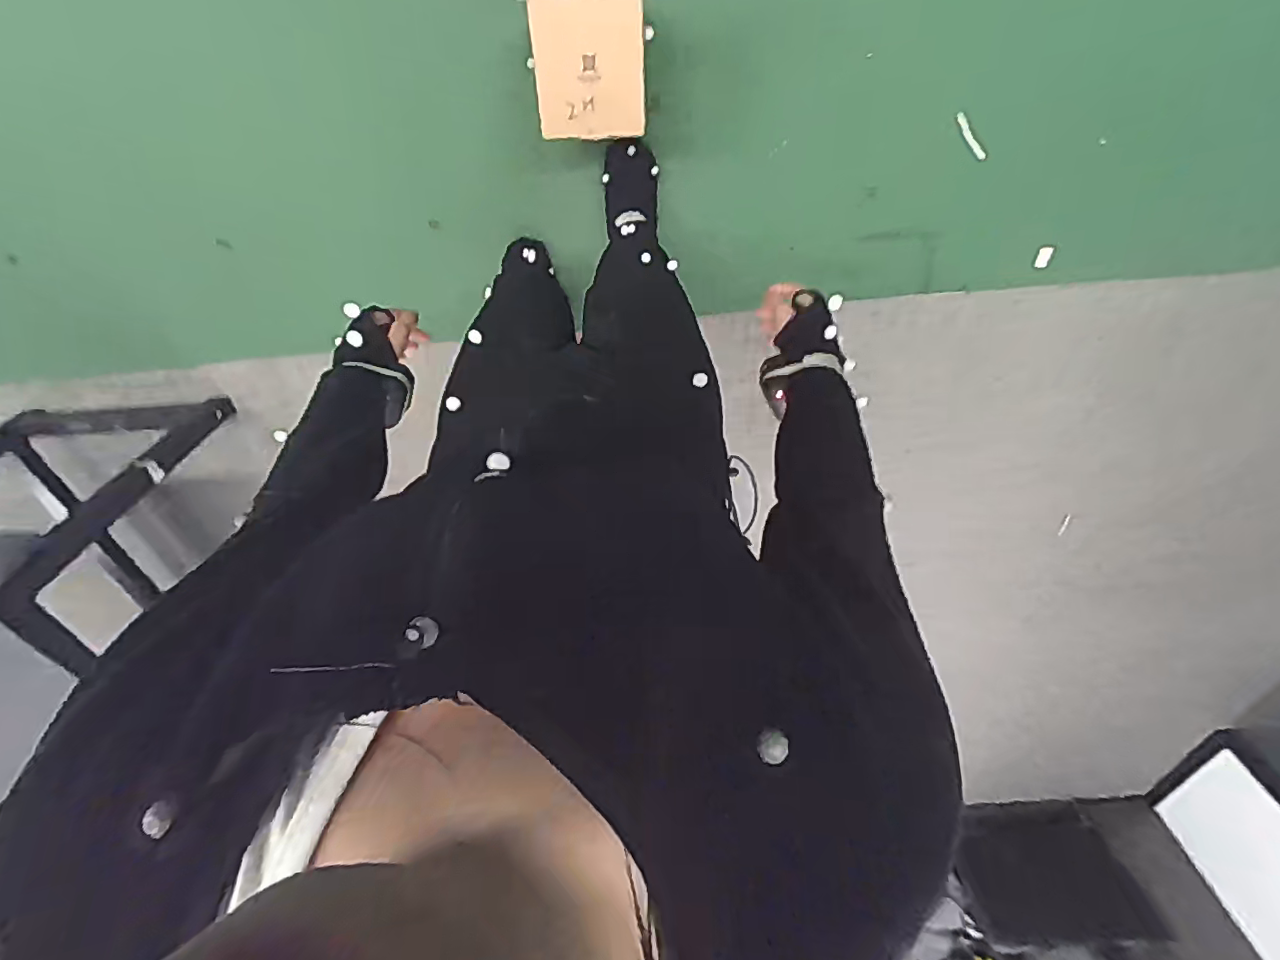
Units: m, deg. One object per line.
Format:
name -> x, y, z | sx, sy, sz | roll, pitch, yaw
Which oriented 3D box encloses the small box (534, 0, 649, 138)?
small box -> -0.071, -0.668, 0.879 | 0.168, 0.176, 0.179 | -2, 128, 1
